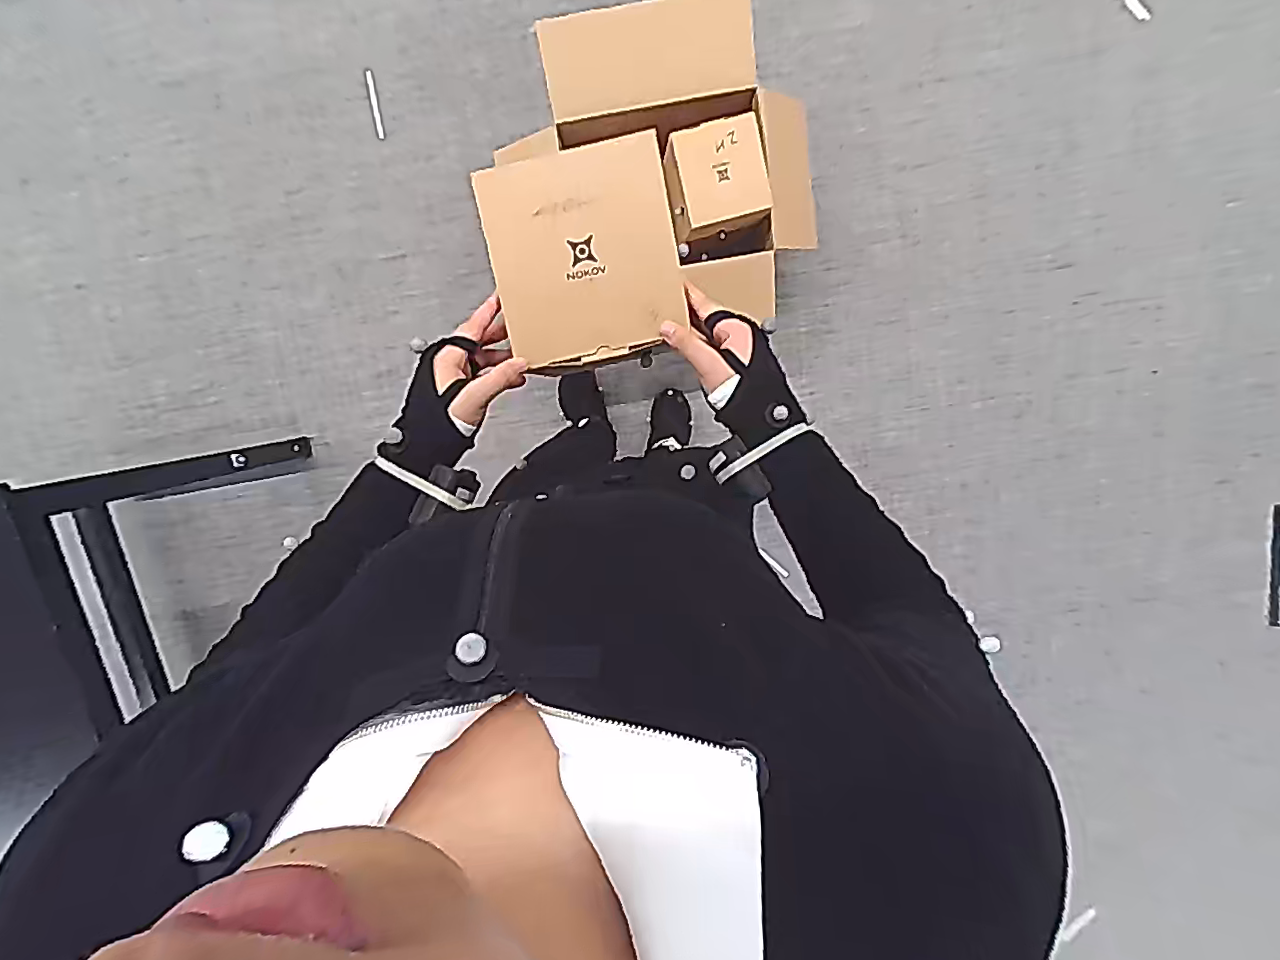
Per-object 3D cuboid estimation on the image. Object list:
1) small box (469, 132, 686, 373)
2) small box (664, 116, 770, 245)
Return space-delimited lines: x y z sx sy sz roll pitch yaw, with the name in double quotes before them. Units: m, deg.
"small box" -0.050 -0.211 0.556 0.168 0.176 0.179 -12 98 3
"small box" 0.151 -0.596 1.105 0.168 0.176 0.179 -15 101 0
